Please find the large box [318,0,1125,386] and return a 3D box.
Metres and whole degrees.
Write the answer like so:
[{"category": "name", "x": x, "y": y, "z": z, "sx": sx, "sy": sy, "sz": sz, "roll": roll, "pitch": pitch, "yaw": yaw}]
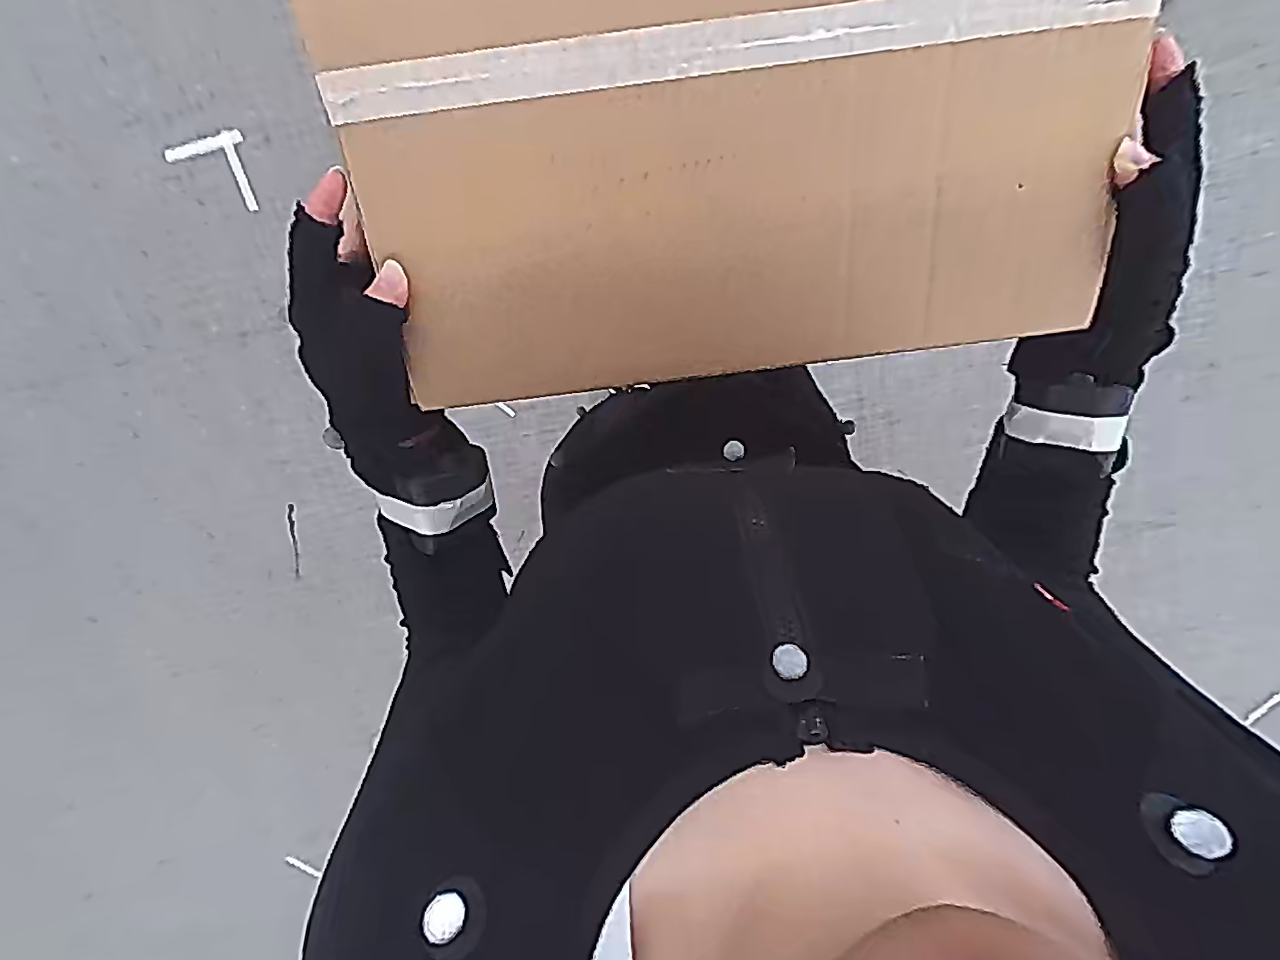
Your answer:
[{"category": "large box", "x": 0.038, "y": -0.279, "z": 0.409, "sx": 0.408, "sy": 0.320, "sz": 0.320, "roll": -7, "pitch": 114, "yaw": 0}]
